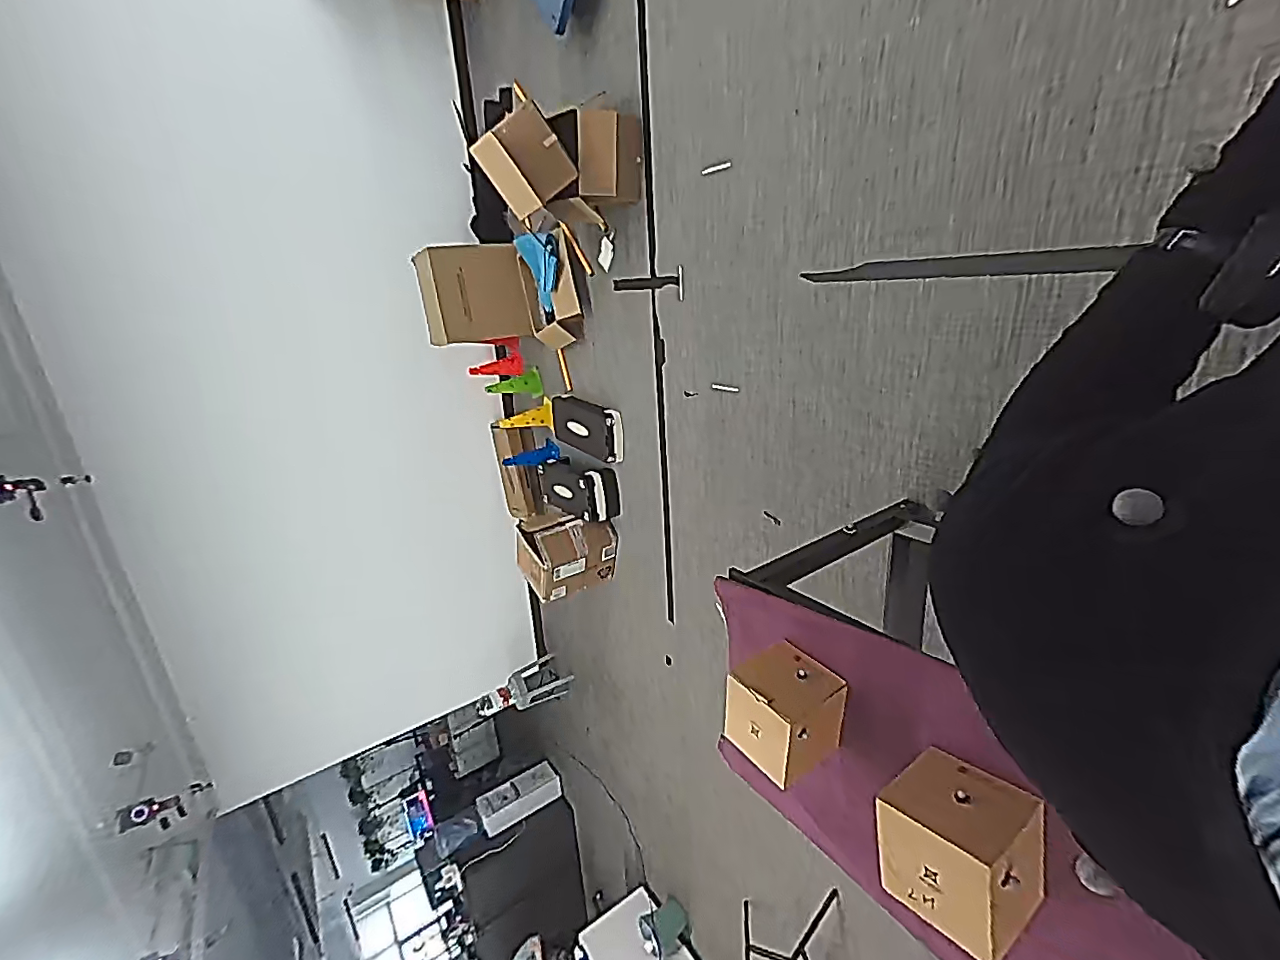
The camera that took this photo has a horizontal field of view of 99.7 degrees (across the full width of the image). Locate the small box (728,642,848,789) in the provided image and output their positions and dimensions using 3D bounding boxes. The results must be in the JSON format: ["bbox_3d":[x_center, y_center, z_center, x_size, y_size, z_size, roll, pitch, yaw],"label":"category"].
[{"bbox_3d":[0.297,0.466,1.095,0.168,0.176,0.179,28,127,50],"label":"small box"}]

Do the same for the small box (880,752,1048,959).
[{"bbox_3d":[0.493,0.560,0.826,0.168,0.176,0.179,9,112,57],"label":"small box"}]
